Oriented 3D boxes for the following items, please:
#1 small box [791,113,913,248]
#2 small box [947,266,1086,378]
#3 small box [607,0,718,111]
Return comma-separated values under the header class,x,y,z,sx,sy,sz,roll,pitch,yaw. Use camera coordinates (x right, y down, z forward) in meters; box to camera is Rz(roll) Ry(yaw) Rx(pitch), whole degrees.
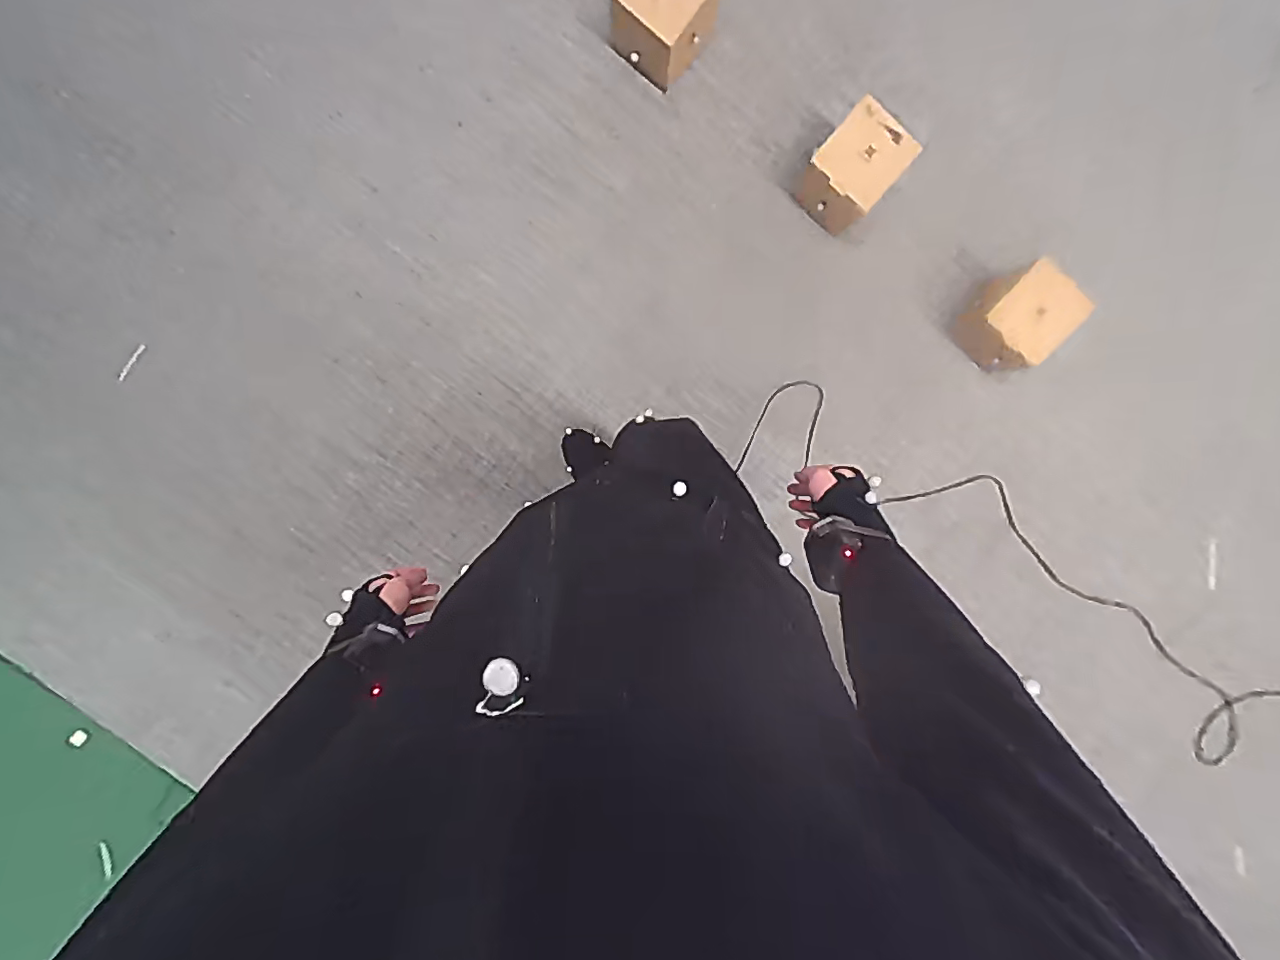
class,x,y,z,sx,sy,sz,roll,pitch,yaw
small box,0.464,-0.663,1.223,0.168,0.176,0.179,41,96,-4
small box,0.856,-0.354,1.256,0.168,0.176,0.179,40,95,-4
small box,0.045,-0.975,1.188,0.168,0.176,0.179,38,97,-3
